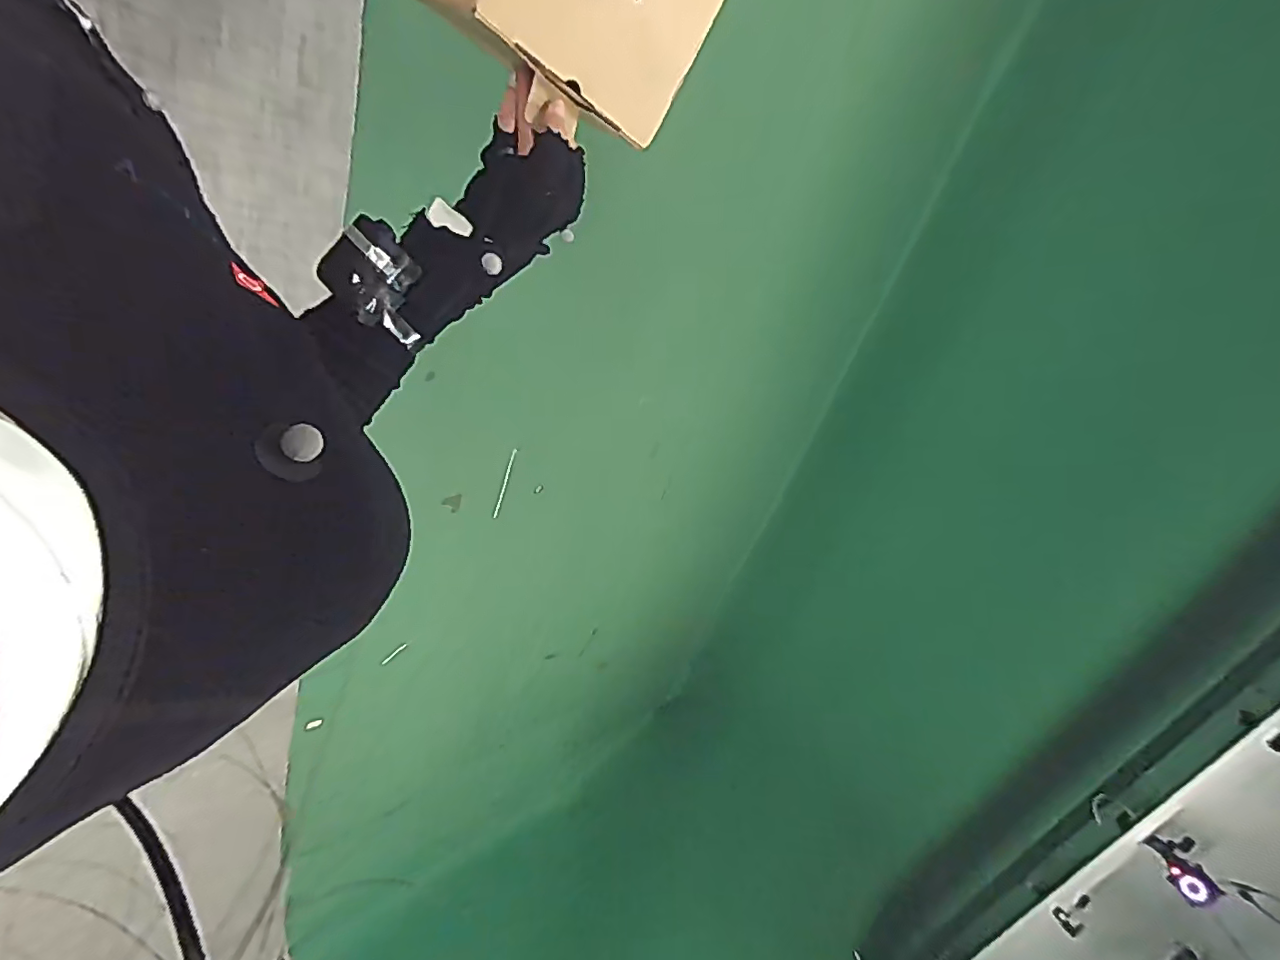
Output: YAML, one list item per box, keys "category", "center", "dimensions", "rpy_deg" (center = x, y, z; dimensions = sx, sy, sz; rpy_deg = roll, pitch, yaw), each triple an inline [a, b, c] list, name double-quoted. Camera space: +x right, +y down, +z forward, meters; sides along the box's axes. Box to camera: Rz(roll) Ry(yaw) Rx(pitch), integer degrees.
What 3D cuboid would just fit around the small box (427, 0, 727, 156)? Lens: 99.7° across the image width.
- category: "small box"
  center: [-0.052, -0.400, 0.415]
  dimensions: [0.168, 0.176, 0.179]
  rpy_deg: [7, 125, -50]
